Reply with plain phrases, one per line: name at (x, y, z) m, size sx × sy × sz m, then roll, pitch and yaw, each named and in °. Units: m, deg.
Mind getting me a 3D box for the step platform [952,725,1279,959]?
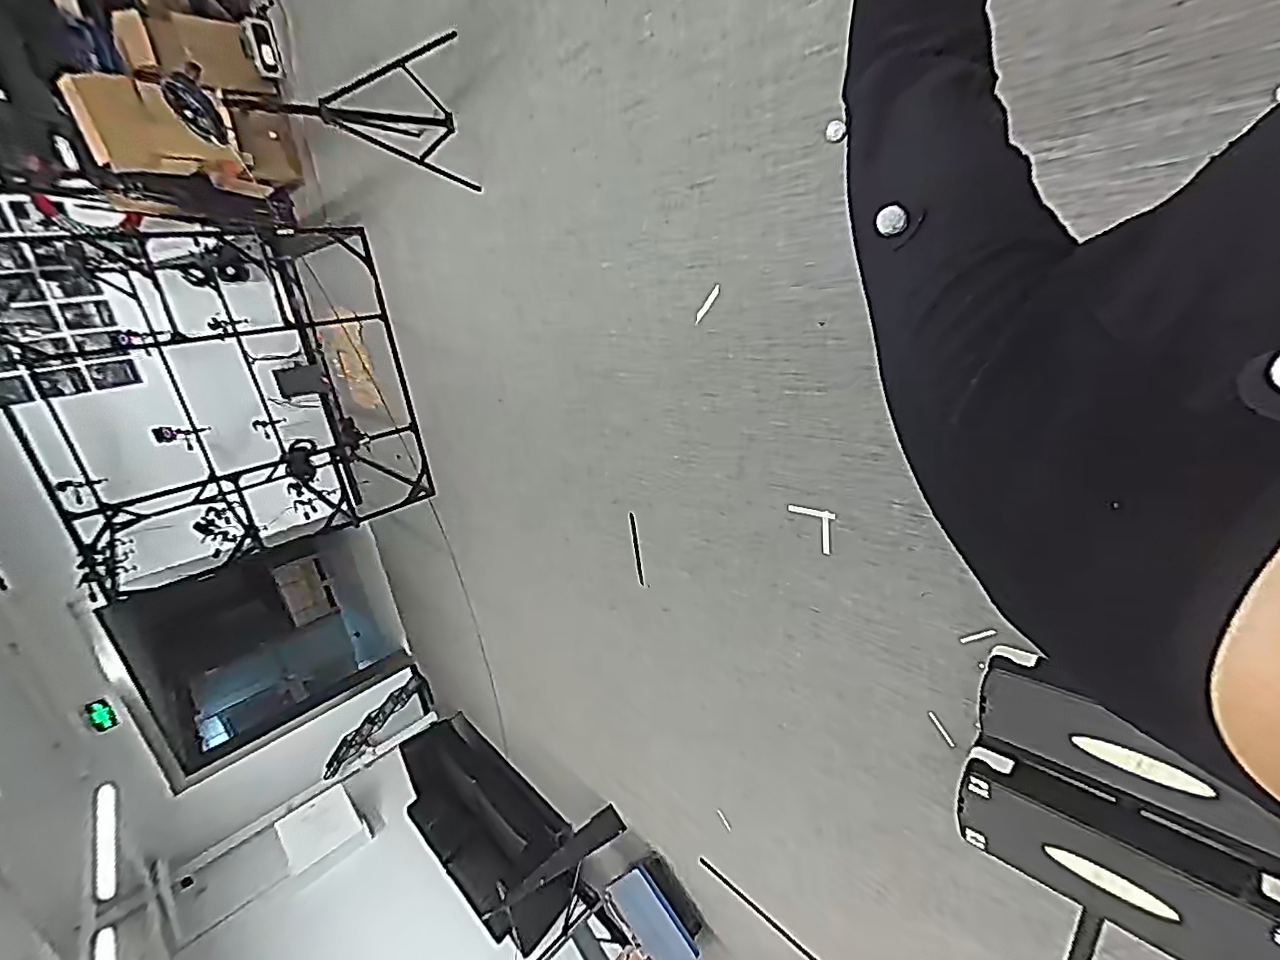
step platform at (1.193, 0.931, 1.384) m, size 0.684 × 0.204 × 0.286 m, roll 12°, pitch 118°, yaw 47°
